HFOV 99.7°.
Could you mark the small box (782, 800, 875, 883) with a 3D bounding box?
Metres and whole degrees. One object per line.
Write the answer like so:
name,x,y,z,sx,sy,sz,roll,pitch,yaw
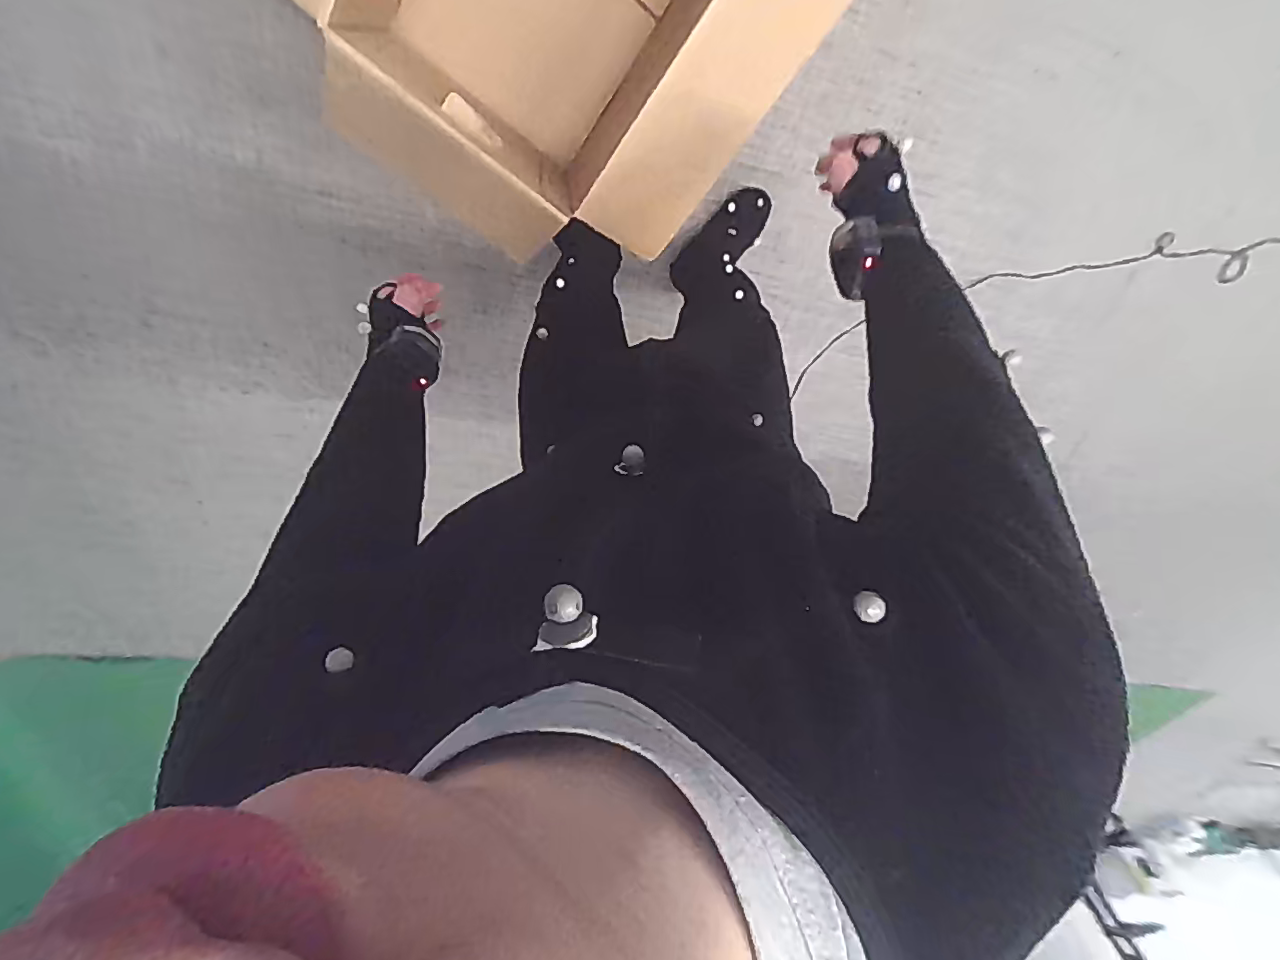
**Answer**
small box,0.565,1.094,1.642,0.179,0.176,0.168,12,124,-17
